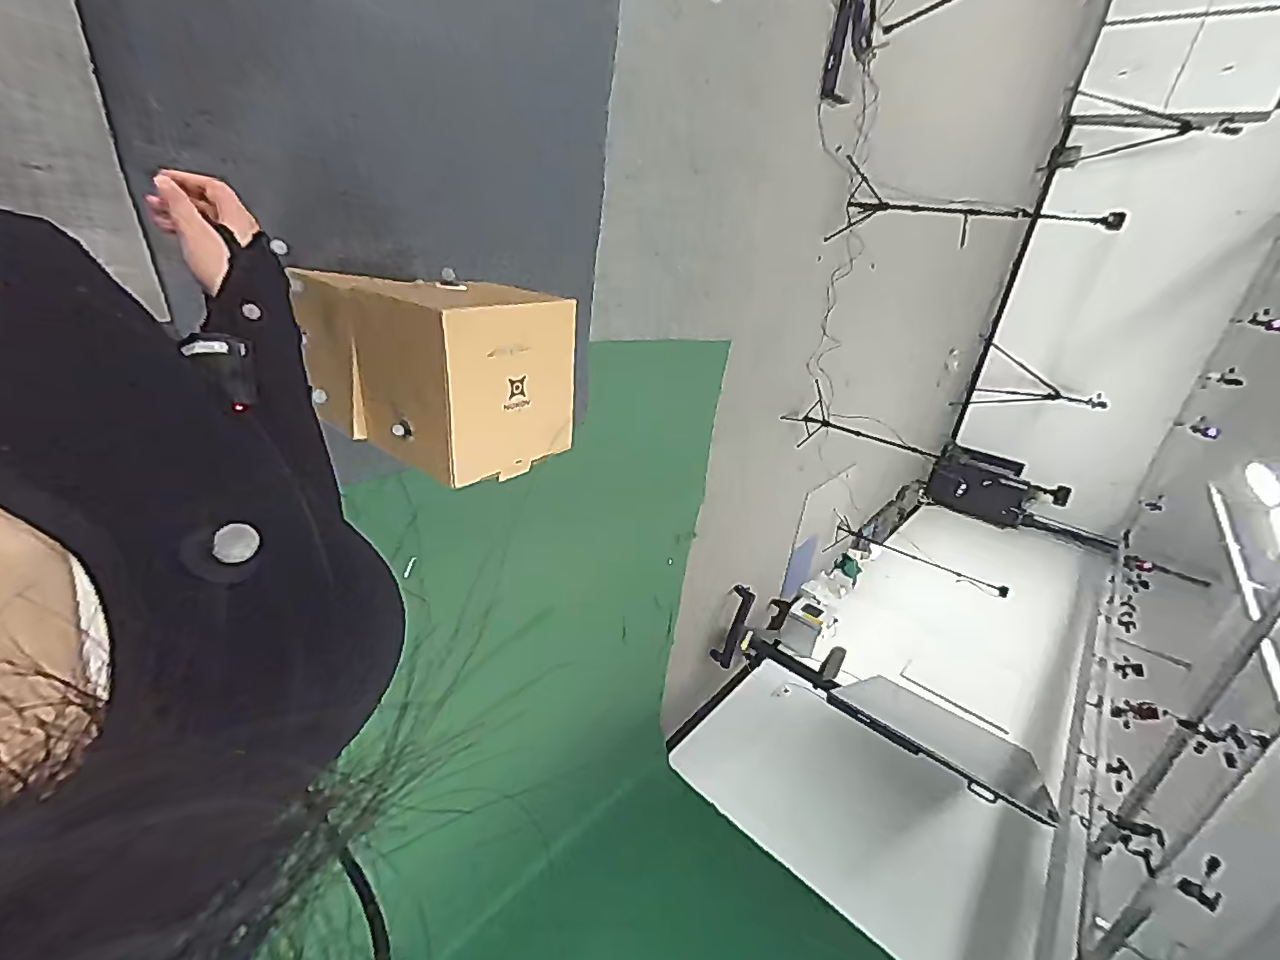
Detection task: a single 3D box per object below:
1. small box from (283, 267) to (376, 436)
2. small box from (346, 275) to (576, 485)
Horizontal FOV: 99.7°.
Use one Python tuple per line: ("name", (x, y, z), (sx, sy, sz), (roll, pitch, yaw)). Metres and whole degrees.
("small box", (-0.314, -0.164, 0.677), (0.179, 0.176, 0.168), (-14, 120, -50))
("small box", (-0.188, -0.119, 0.585), (0.168, 0.176, 0.179), (-26, 128, -47))
